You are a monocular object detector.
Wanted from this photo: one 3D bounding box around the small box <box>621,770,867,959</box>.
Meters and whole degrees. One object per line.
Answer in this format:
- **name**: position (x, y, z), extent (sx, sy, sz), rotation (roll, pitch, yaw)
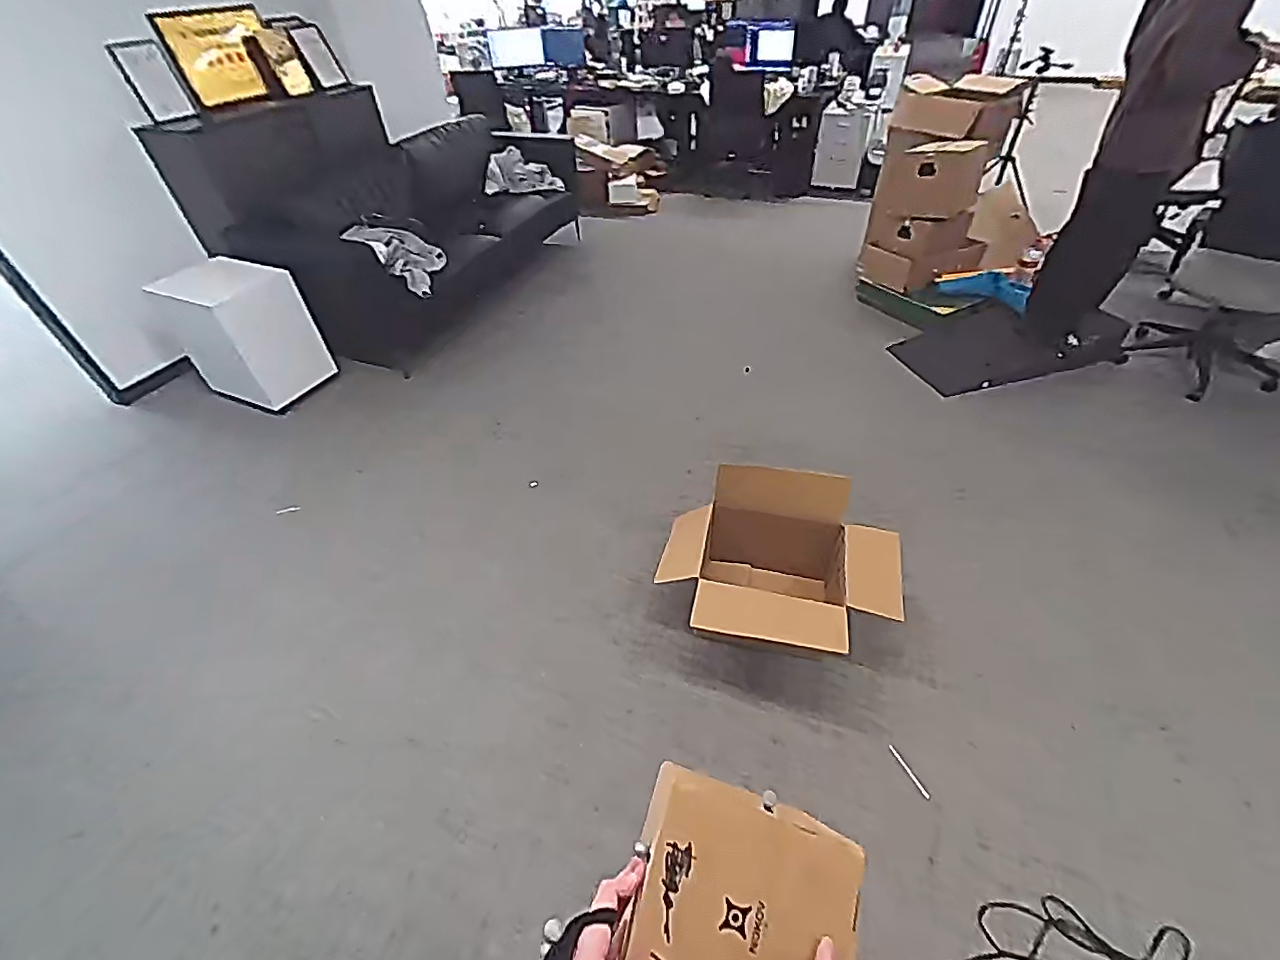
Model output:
- **small box**: position (0.089, 0.397, 0.522), extent (0.179, 0.176, 0.168), rotation (17, 67, 6)
